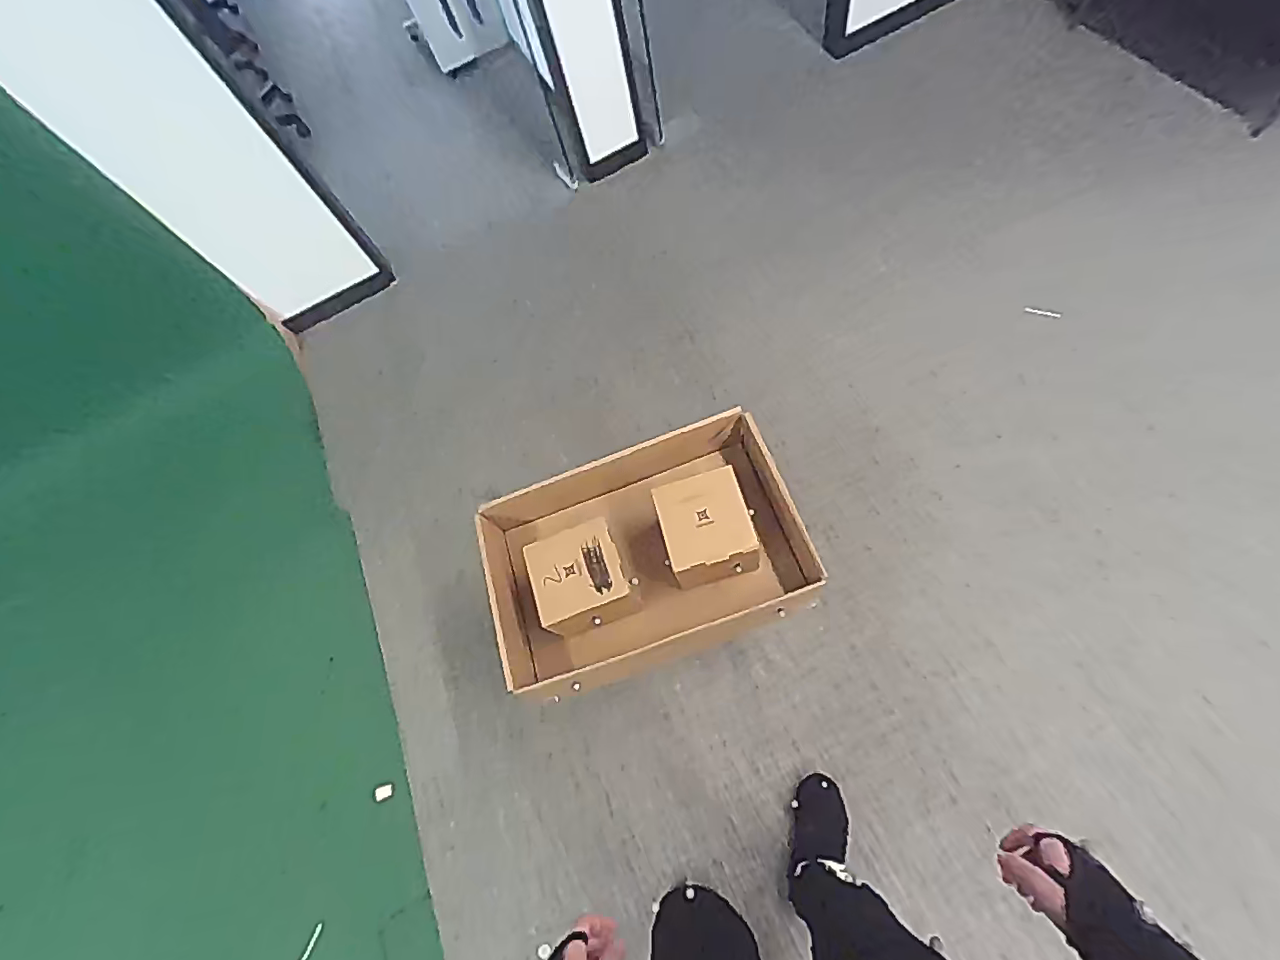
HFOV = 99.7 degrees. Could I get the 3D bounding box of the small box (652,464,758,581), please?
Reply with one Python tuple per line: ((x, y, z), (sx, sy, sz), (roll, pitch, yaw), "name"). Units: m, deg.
((0.136, 0.096, 1.089), (0.168, 0.176, 0.179), (-17, 65, 5), "small box")
